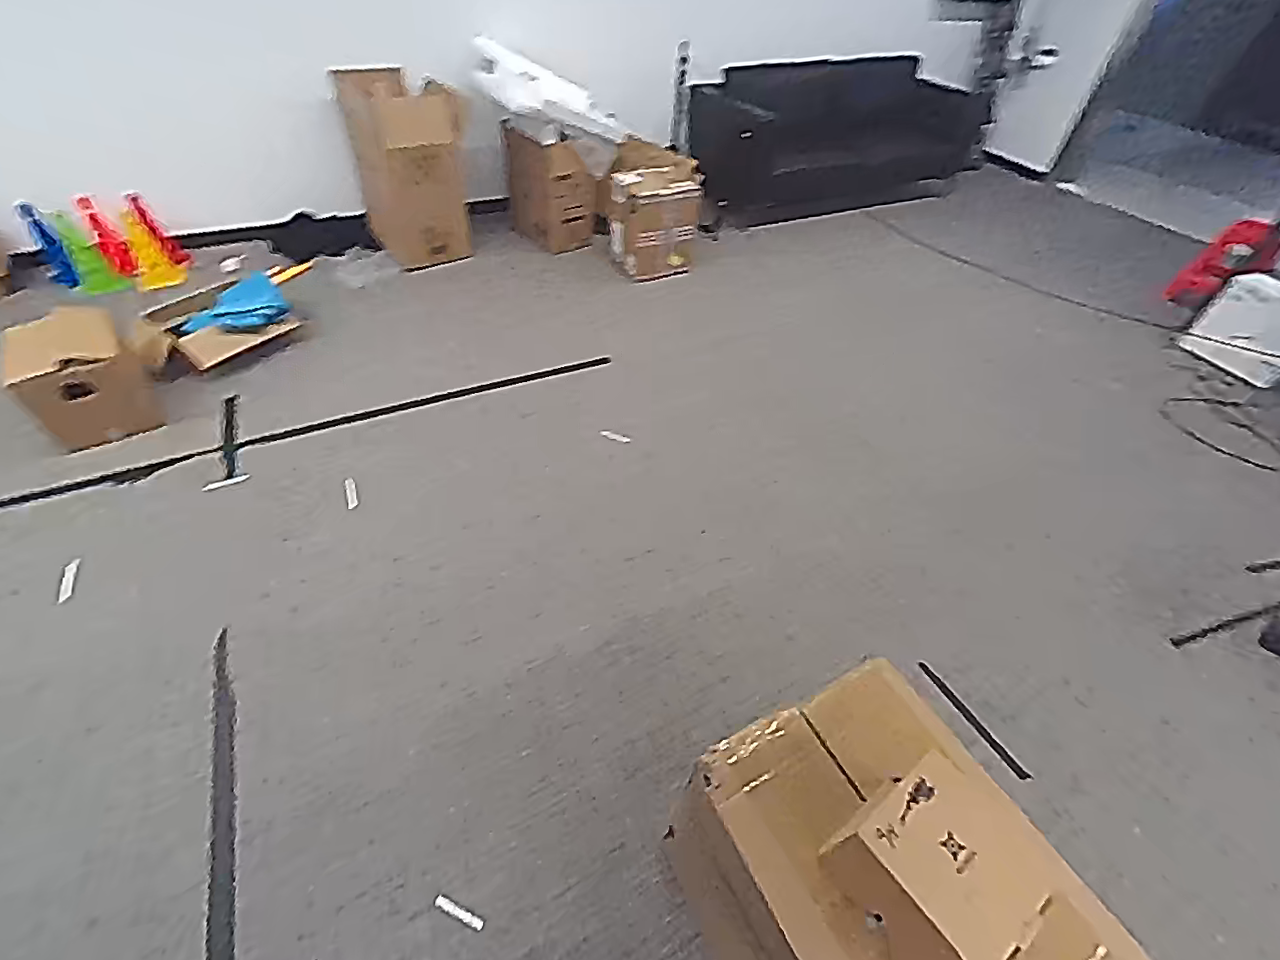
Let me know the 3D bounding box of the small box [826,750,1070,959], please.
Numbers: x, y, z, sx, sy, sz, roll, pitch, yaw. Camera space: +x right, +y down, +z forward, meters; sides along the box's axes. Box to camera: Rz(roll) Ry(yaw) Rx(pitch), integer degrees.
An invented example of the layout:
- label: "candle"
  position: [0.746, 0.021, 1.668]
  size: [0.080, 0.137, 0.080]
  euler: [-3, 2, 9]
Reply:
- label: "small box"
  position: [0.371, 0.487, 0.683]
  size: [0.168, 0.176, 0.179]
  euler: [-27, 54, -25]
